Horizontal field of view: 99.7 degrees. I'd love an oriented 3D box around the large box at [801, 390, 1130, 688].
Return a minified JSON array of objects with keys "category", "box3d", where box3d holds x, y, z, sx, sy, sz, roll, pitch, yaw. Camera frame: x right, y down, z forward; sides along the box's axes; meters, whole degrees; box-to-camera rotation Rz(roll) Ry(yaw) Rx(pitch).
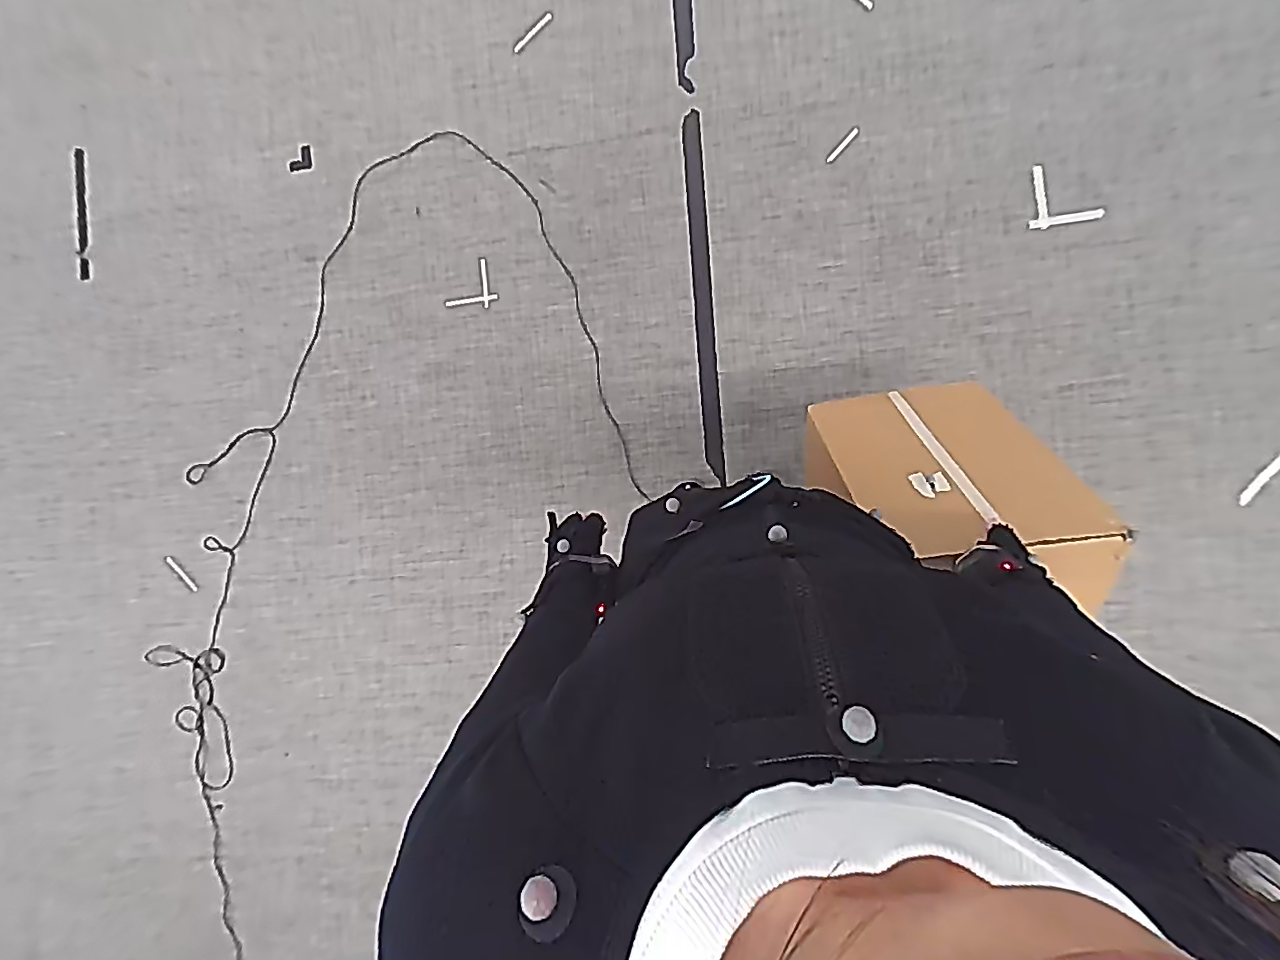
[{"category":"large box","box3d":[0.492,0.090,0.946,0.320,0.408,0.320,-8,129,5]}]
